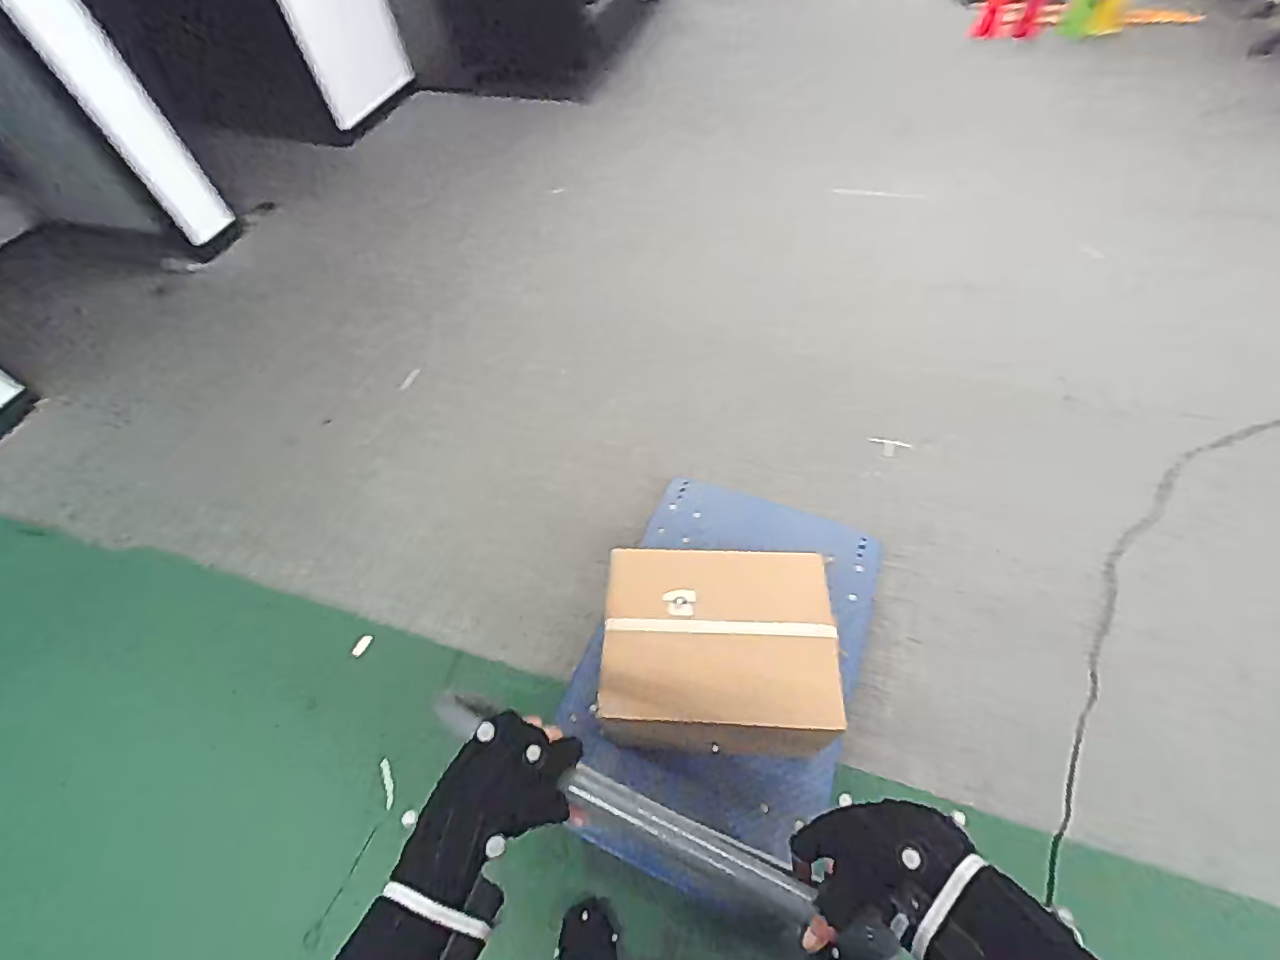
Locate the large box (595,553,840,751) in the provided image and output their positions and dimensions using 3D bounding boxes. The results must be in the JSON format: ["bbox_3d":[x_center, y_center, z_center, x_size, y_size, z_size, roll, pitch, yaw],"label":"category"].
[{"bbox_3d":[0.144,0.351,1.083,0.408,0.320,0.320,0,55,6],"label":"large box"}]
